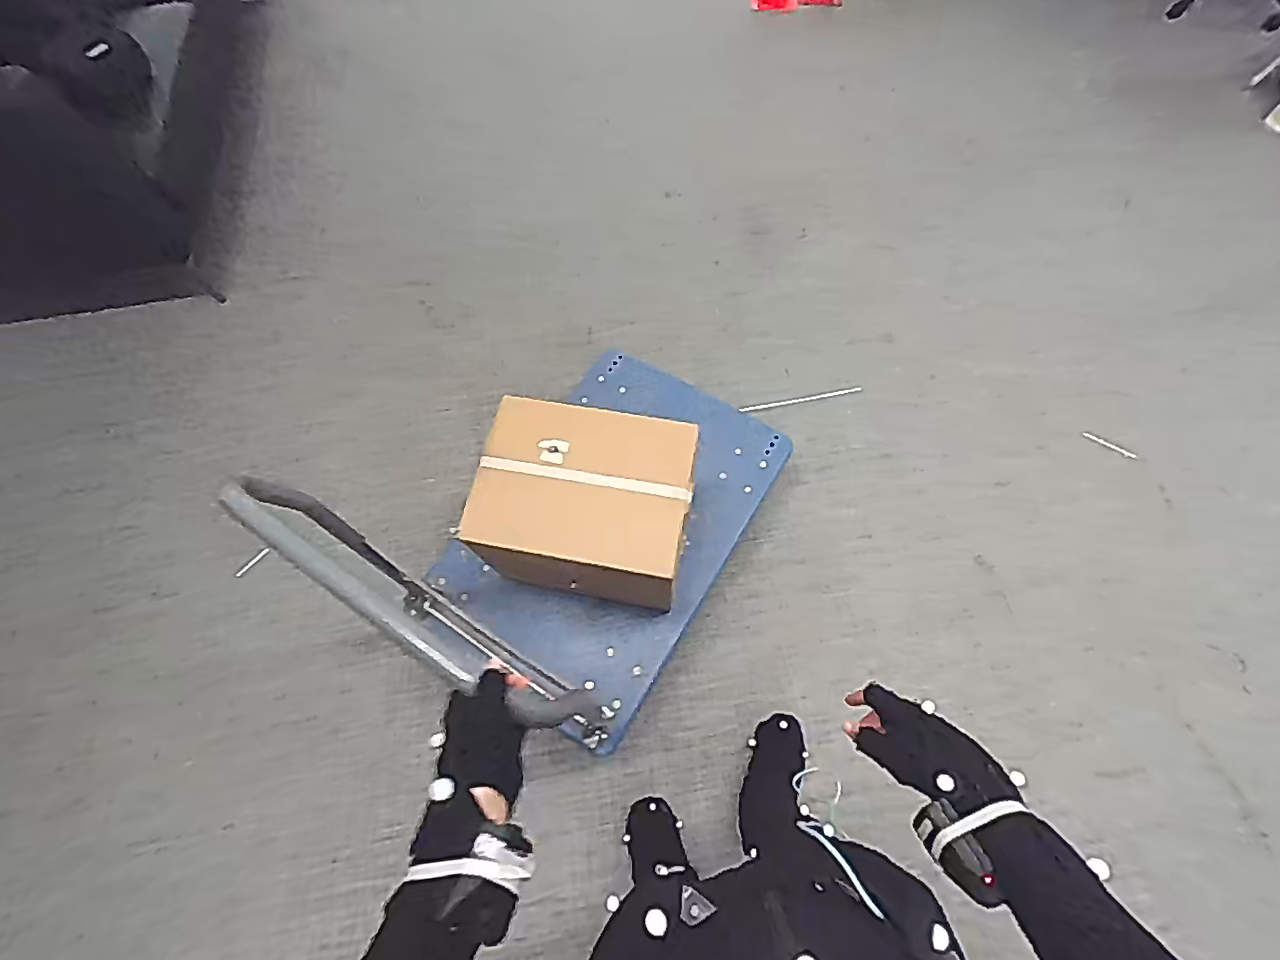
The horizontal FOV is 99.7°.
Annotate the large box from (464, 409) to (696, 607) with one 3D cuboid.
[{"bbox_3d":[-0.096,0.073,1.168,0.408,0.320,0.320,8,66,7],"label":"large box"}]
